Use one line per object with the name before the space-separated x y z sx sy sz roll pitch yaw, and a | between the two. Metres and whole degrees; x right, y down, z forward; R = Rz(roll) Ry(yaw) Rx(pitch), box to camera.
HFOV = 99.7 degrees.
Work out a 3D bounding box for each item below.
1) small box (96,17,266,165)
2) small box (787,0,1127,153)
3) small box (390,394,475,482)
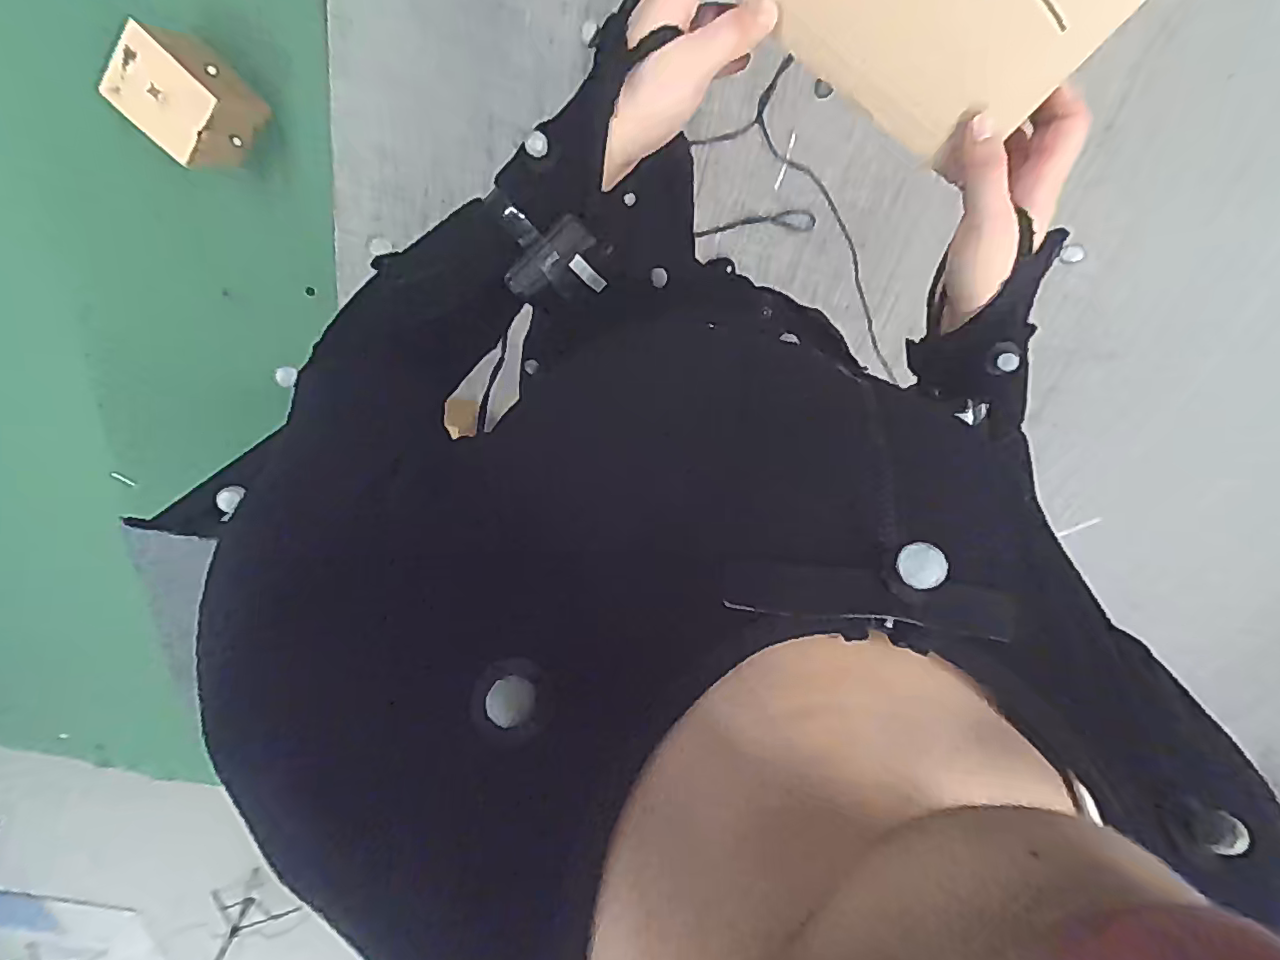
small box | -0.917 -0.778 1.098 0.168 0.176 0.179 -37 113 21
small box | 0.182 -0.336 0.305 0.179 0.176 0.168 25 138 -16
small box | -0.557 -0.118 1.465 0.179 0.176 0.168 12 119 -4
